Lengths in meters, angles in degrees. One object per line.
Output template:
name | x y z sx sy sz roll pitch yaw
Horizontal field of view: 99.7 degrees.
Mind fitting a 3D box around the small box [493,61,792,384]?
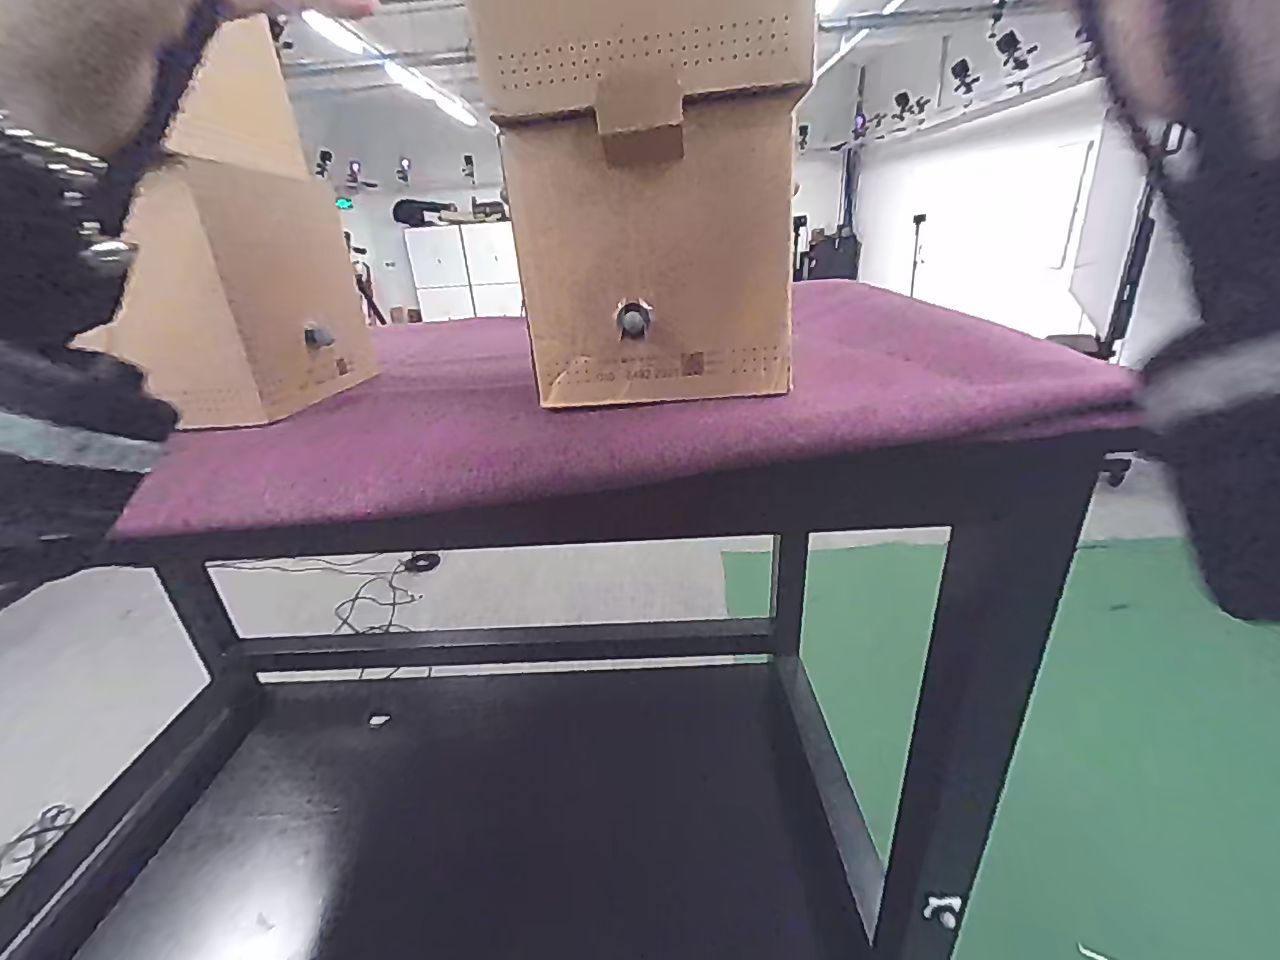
small box | 0.010 -0.171 0.396 0.168 0.176 0.179 -3 23 5

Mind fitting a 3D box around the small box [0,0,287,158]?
small box | -0.366 -0.297 0.342 0.168 0.176 0.179 -5 25 -2

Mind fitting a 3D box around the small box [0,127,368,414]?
small box | -0.349 -0.152 0.419 0.179 0.176 0.168 -2 24 3
